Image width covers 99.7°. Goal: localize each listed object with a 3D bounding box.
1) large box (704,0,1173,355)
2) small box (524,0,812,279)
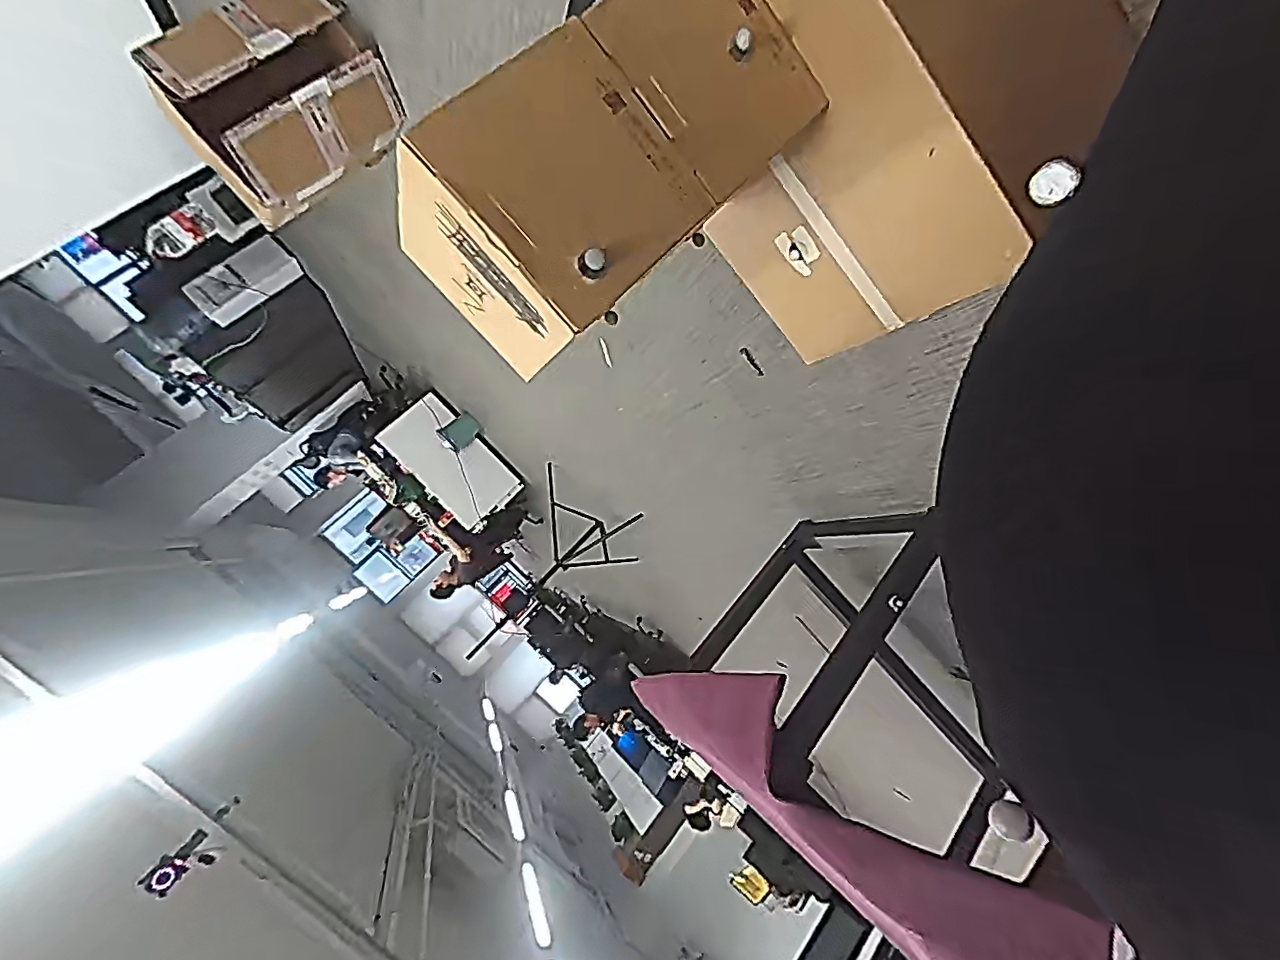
[{"bbox_3d":[0.257,-0.424,0.596,0.408,0.320,0.320,46,163,-11],"label":"large box"},{"bbox_3d":[0.022,-0.330,0.505,0.168,0.176,0.179,46,162,-15],"label":"small box"}]
